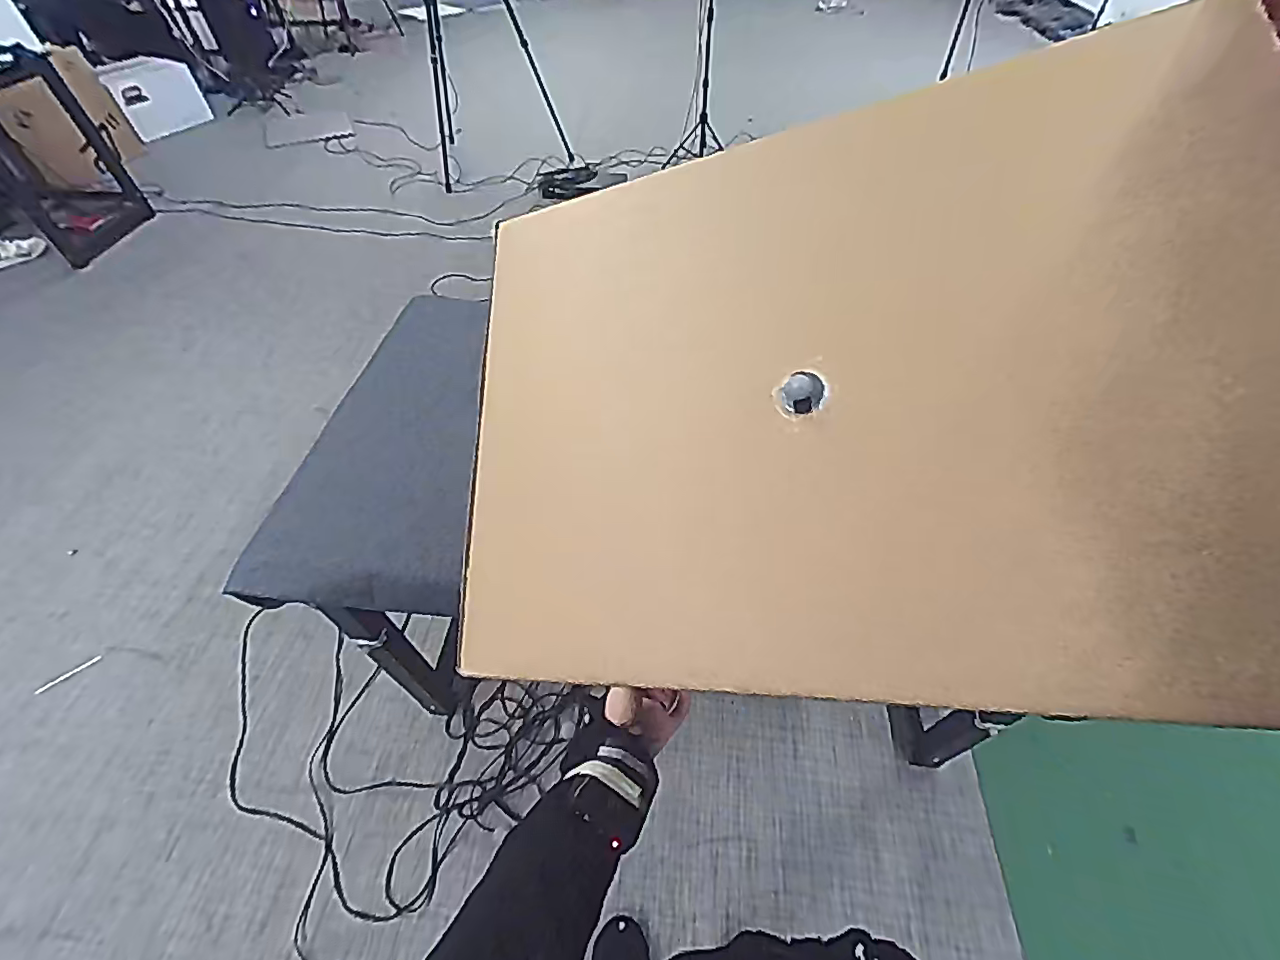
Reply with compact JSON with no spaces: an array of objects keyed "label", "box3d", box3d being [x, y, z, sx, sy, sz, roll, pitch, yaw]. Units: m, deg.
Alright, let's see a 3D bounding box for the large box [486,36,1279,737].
[{"label":"large box","box3d":[0.143,-0.008,0.415,0.408,0.320,0.320,-7,74,21]}]
